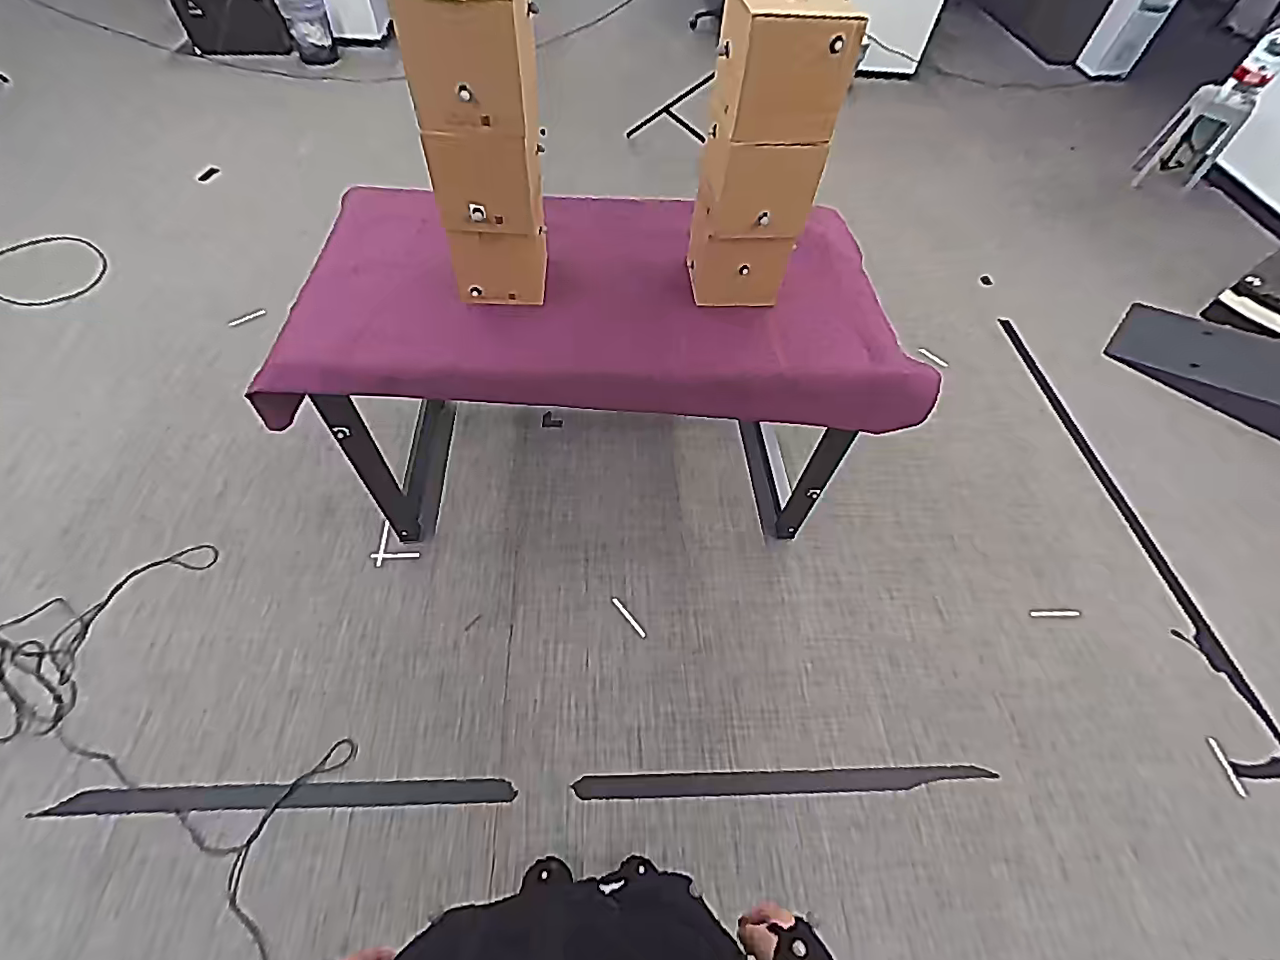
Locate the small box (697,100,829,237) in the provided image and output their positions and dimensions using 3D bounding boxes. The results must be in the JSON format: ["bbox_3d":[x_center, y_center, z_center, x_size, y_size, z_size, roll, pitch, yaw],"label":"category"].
[{"bbox_3d":[0.215,-0.569,0.998,0.179,0.176,0.168,-4,56,-7],"label":"small box"}]

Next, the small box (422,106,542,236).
[{"bbox_3d":[-0.266,-0.560,0.955,0.168,0.176,0.179,0,57,-4],"label":"small box"}]

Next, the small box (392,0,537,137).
[{"bbox_3d":[-0.252,-0.653,0.819,0.168,0.176,0.179,1,56,-2],"label":"small box"}]

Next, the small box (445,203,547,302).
[{"bbox_3d":[-0.280,-0.479,1.096,0.168,0.176,0.179,0,55,-5],"label":"small box"}]

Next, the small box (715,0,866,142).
[{"bbox_3d":[0.224,-0.668,0.868,0.179,0.176,0.168,-4,56,-7],"label":"small box"}]
